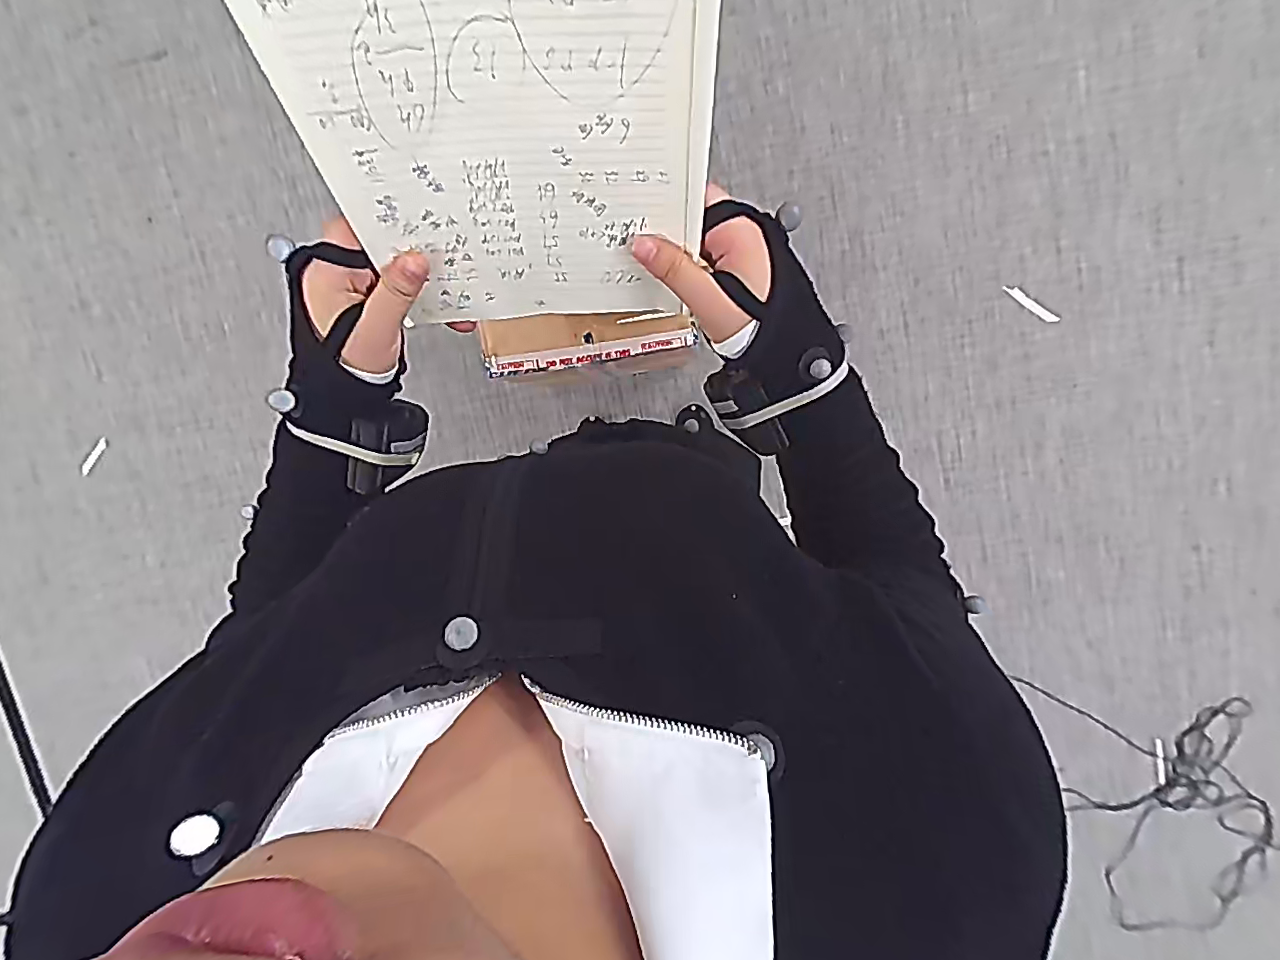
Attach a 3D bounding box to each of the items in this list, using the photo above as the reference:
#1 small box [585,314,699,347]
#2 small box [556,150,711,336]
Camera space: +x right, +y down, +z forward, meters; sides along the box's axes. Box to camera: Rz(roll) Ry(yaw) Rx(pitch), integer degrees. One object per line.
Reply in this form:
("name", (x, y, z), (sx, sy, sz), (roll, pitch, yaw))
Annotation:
("small box", (-0.011, -0.323, 0.886), (0.179, 0.176, 0.168), (-13, 98, 2))
("small box", (-0.008, -0.301, 0.723), (0.168, 0.176, 0.179), (-9, 99, 1))
